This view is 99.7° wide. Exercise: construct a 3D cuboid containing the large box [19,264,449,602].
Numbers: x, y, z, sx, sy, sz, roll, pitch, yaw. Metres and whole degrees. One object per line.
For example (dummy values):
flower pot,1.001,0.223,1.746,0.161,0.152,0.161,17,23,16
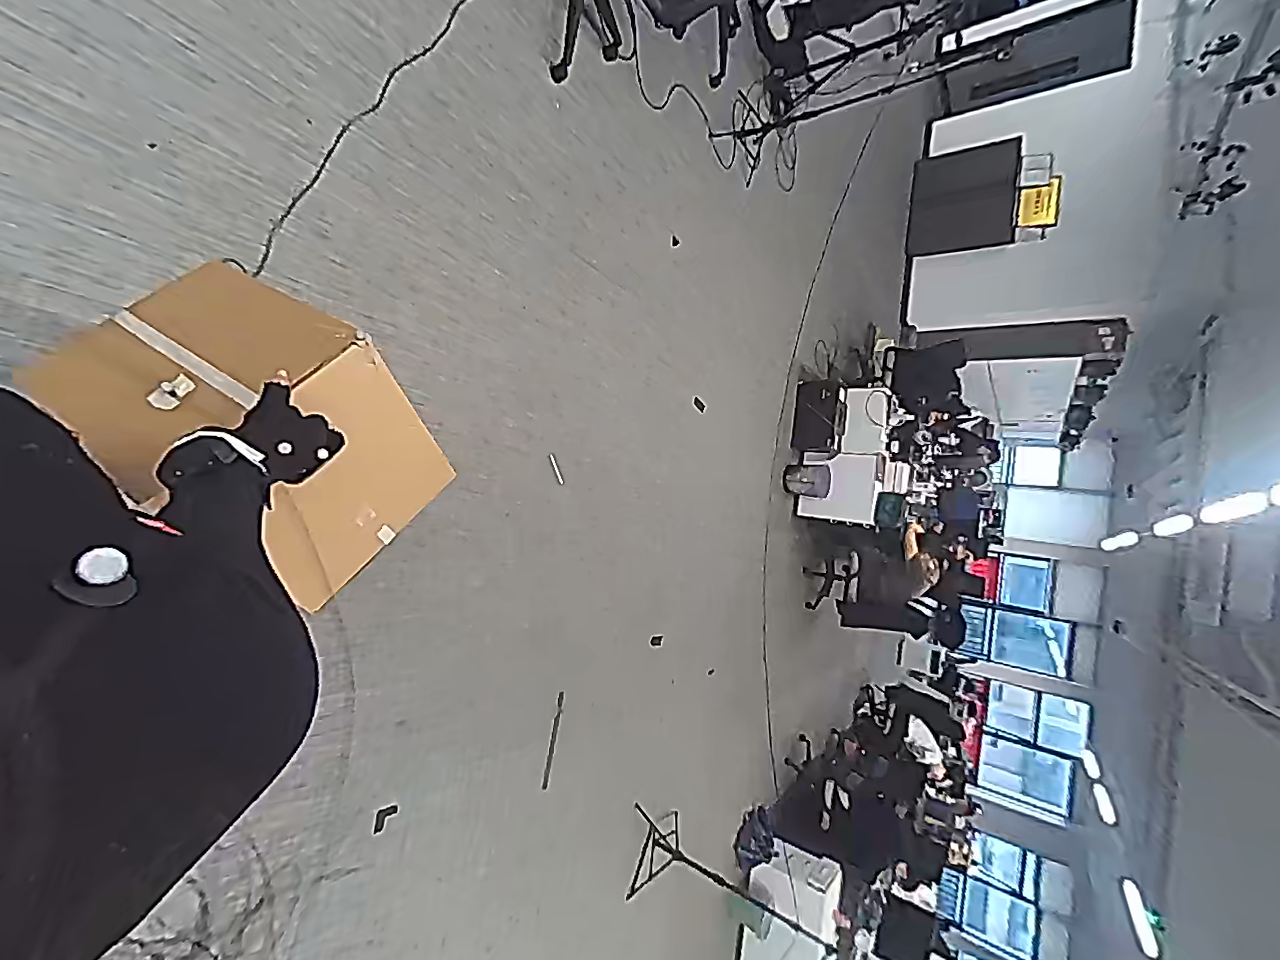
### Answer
large box,-0.594,-0.077,0.852,0.320,0.408,0.320,-52,155,-24
